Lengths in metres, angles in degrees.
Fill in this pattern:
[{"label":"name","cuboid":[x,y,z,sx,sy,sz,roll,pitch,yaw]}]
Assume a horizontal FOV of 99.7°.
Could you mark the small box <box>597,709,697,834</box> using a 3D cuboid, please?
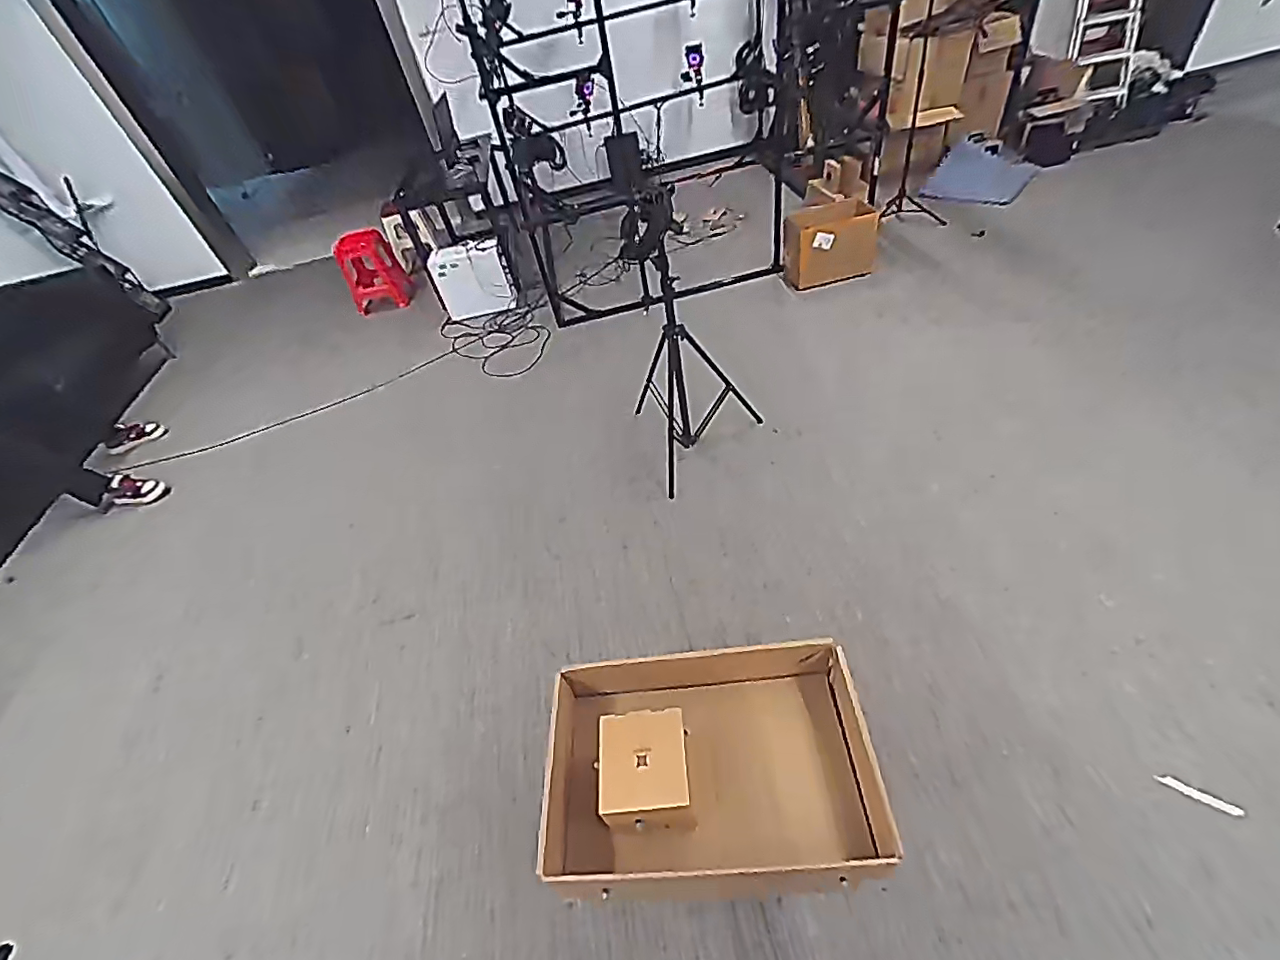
[{"label":"small box","cuboid":[0.015,0.576,1.061,0.168,0.176,0.179,-9,44,5]}]
